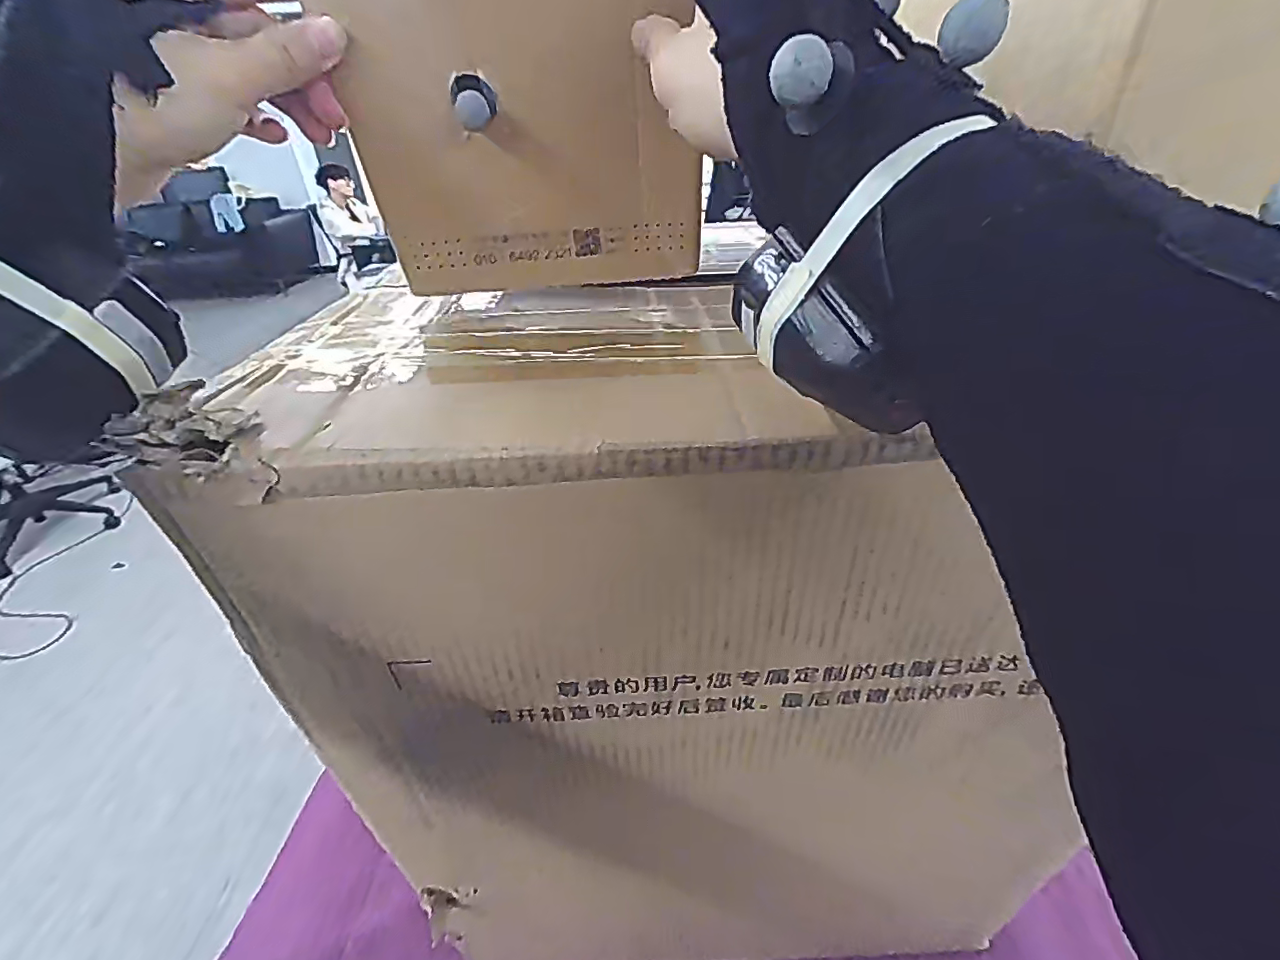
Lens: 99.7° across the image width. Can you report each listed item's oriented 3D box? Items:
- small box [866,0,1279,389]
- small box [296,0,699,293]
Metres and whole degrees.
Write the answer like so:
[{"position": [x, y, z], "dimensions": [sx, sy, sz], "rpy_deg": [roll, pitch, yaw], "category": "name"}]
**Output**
[{"position": [0.211, -0.146, 0.223], "dimensions": [0.179, 0.176, 0.168], "rpy_deg": [-5, 35, -1], "category": "small box"}, {"position": [-0.057, -0.221, 0.312], "dimensions": [0.168, 0.176, 0.179], "rpy_deg": [-6, 46, -1], "category": "small box"}]
